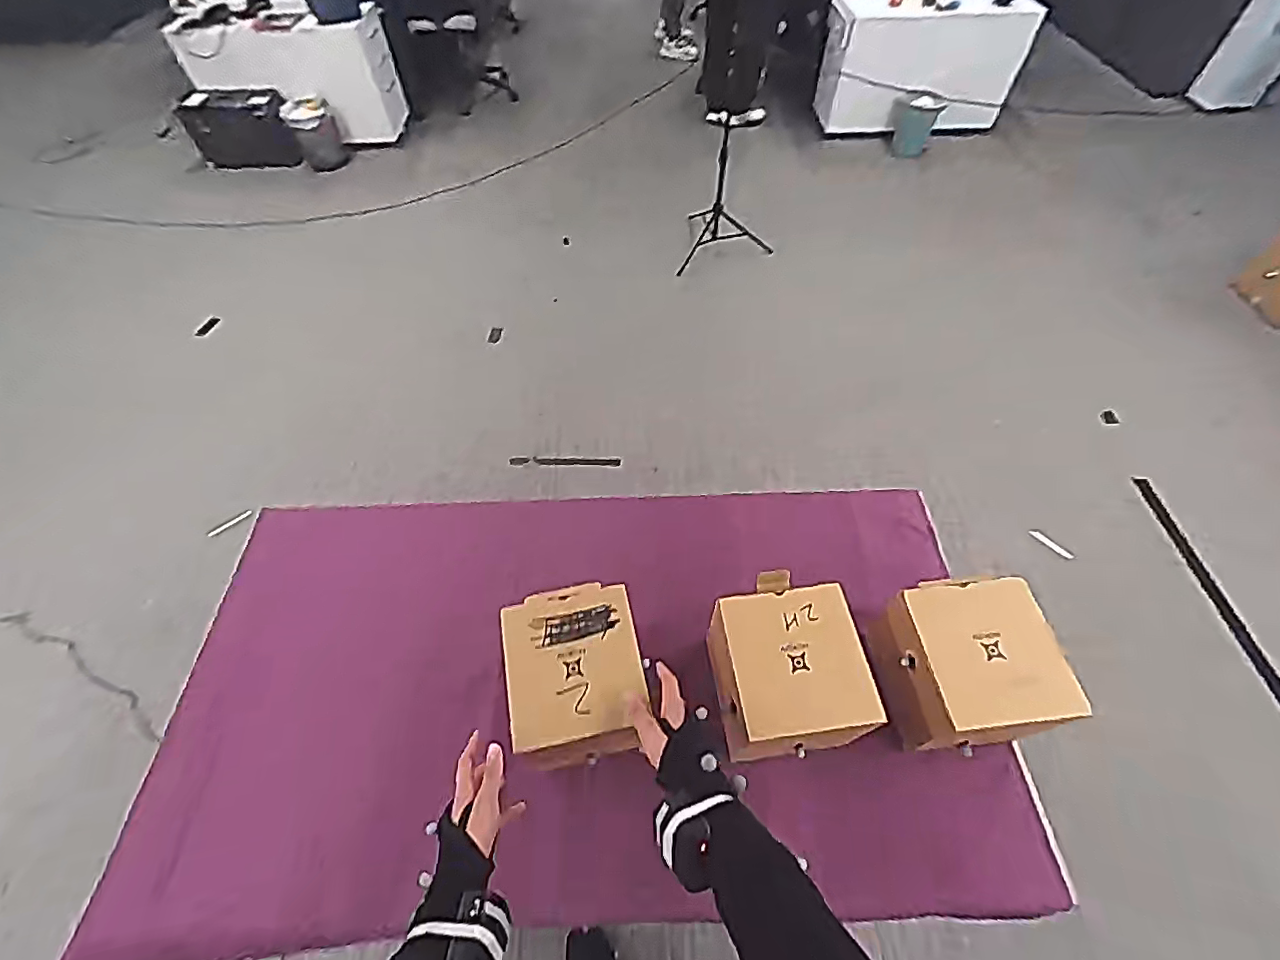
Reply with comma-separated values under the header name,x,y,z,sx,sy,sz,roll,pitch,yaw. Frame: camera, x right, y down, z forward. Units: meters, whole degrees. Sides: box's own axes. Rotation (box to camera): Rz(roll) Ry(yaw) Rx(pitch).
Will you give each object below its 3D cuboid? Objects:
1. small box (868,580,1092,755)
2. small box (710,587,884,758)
name,x,y,z,sx,sy,sz,roll,pitch,yaw
small box,0.434,0.256,0.731,0.168,0.176,0.179,-6,55,-1
small box,0.194,0.265,0.729,0.168,0.176,0.179,-6,55,-3
